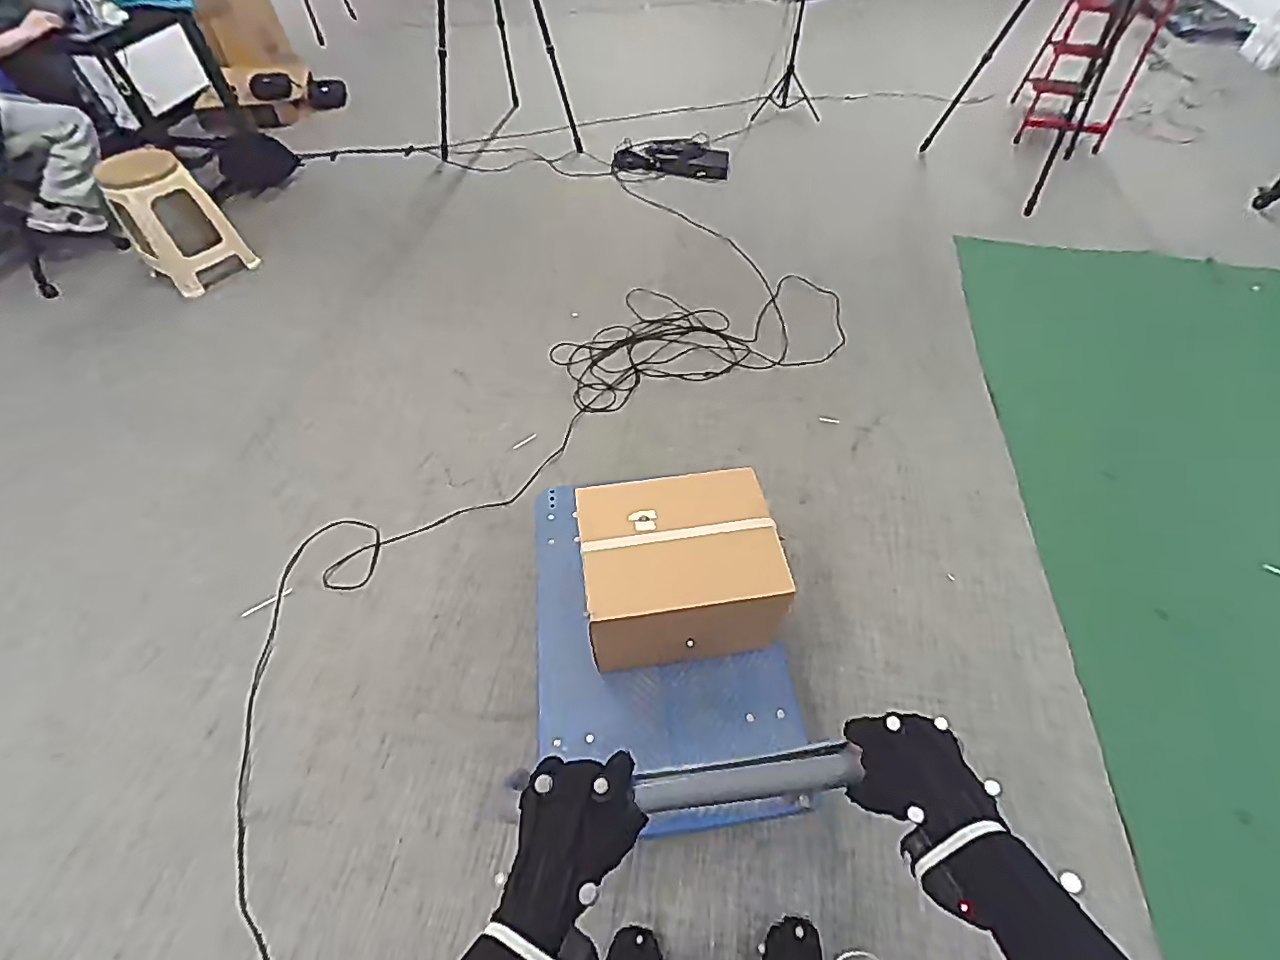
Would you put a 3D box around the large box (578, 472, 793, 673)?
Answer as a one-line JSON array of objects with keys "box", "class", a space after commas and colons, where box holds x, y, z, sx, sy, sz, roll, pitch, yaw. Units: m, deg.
[{"box": [0.088, 0.219, 1.246, 0.408, 0.320, 0.320, -8, 53, -4], "class": "large box"}]
